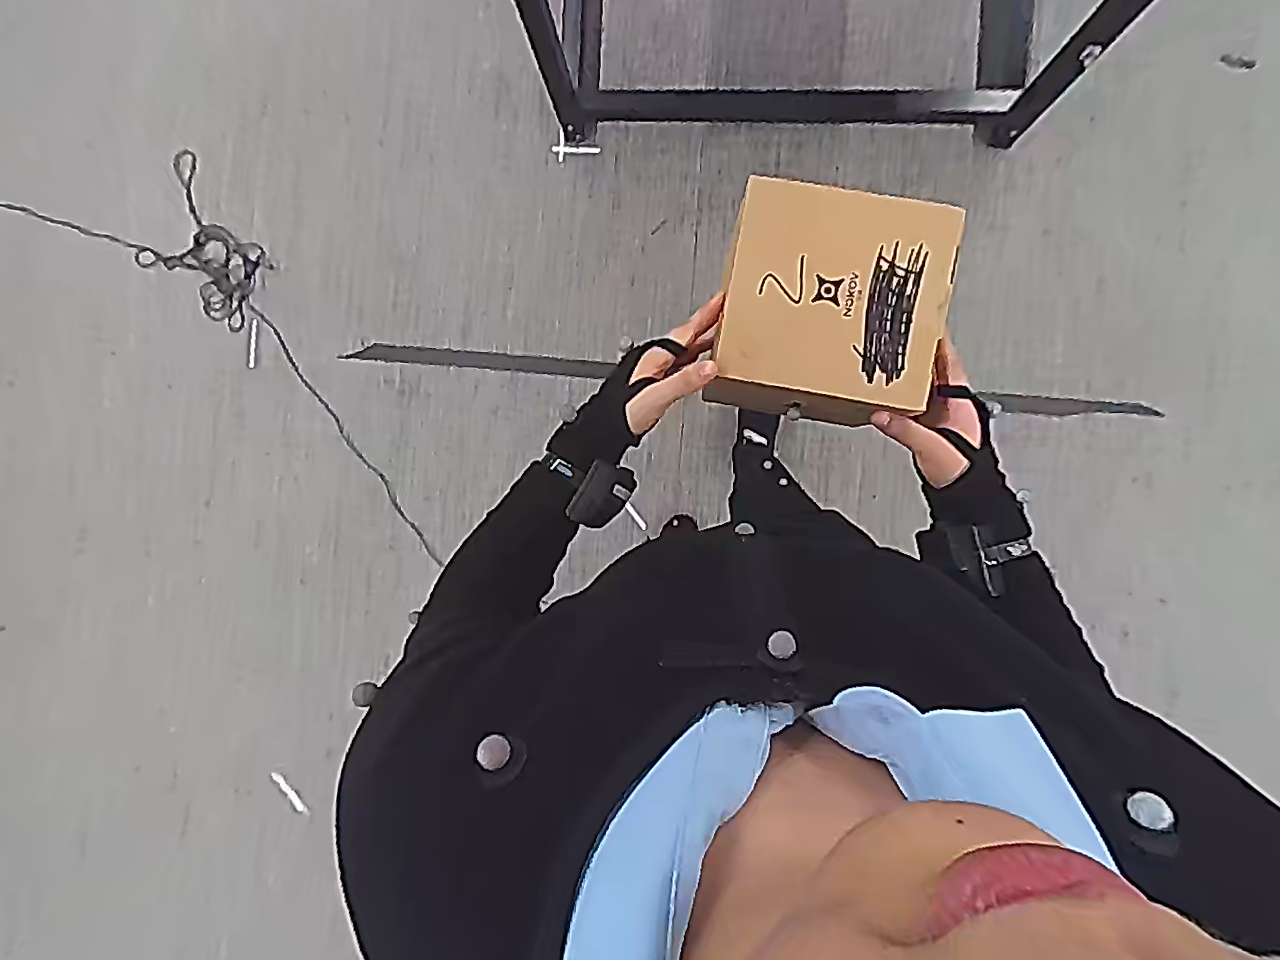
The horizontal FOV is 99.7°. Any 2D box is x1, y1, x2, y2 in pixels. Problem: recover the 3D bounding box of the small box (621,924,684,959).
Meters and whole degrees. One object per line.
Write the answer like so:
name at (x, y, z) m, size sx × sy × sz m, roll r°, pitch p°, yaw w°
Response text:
small box at (0.029, 1.325, 1.426) m, size 0.168 × 0.176 × 0.179 m, roll 3°, pitch 91°, yaw 4°
